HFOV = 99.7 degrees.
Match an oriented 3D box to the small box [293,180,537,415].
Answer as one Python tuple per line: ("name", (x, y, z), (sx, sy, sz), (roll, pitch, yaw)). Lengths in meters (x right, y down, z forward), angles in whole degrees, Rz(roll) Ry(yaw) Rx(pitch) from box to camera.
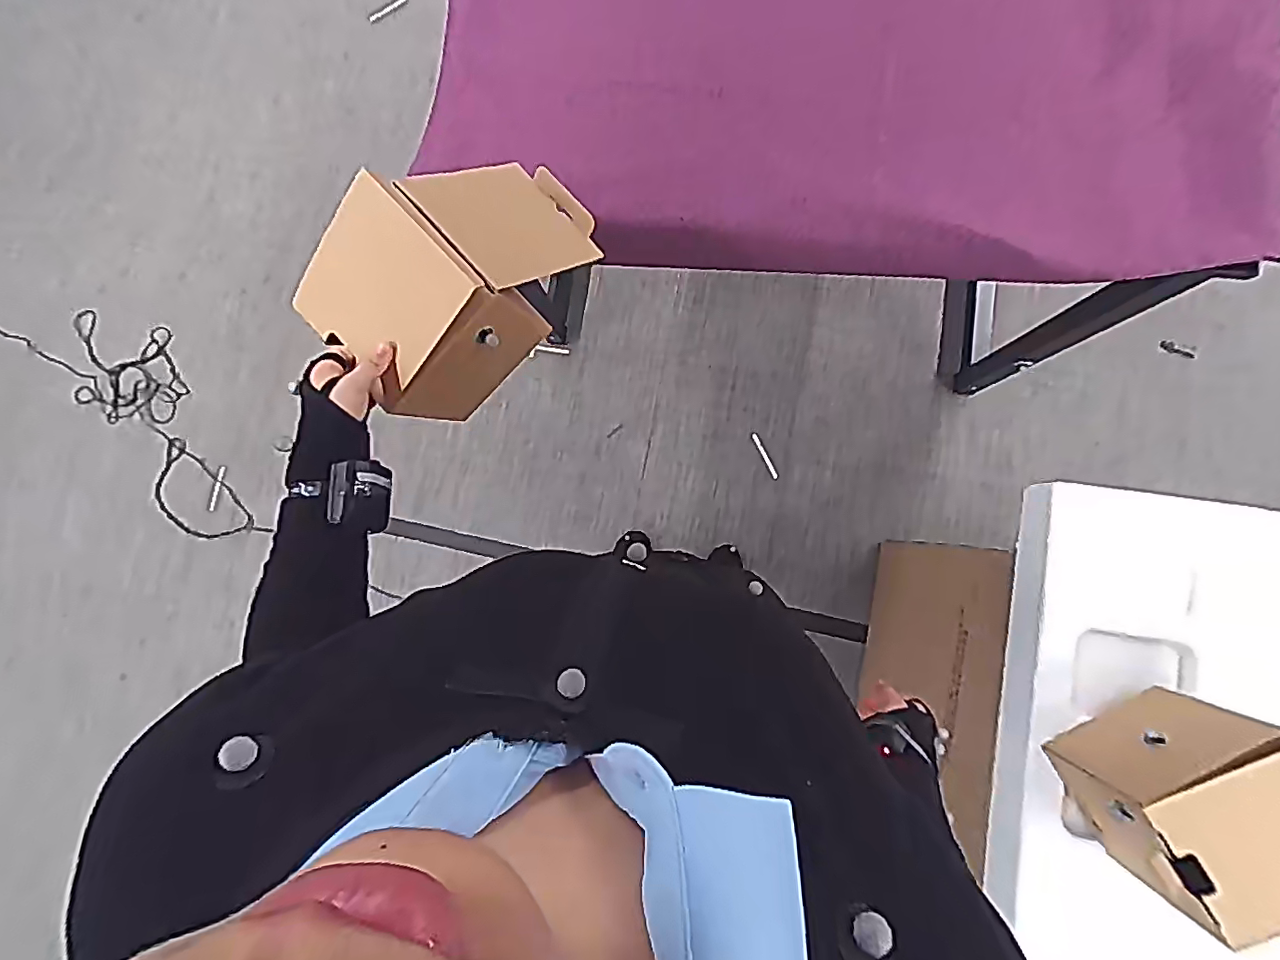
("small box", (-0.244, -0.196, 0.638), (0.179, 0.176, 0.168), (-43, 84, 9))
